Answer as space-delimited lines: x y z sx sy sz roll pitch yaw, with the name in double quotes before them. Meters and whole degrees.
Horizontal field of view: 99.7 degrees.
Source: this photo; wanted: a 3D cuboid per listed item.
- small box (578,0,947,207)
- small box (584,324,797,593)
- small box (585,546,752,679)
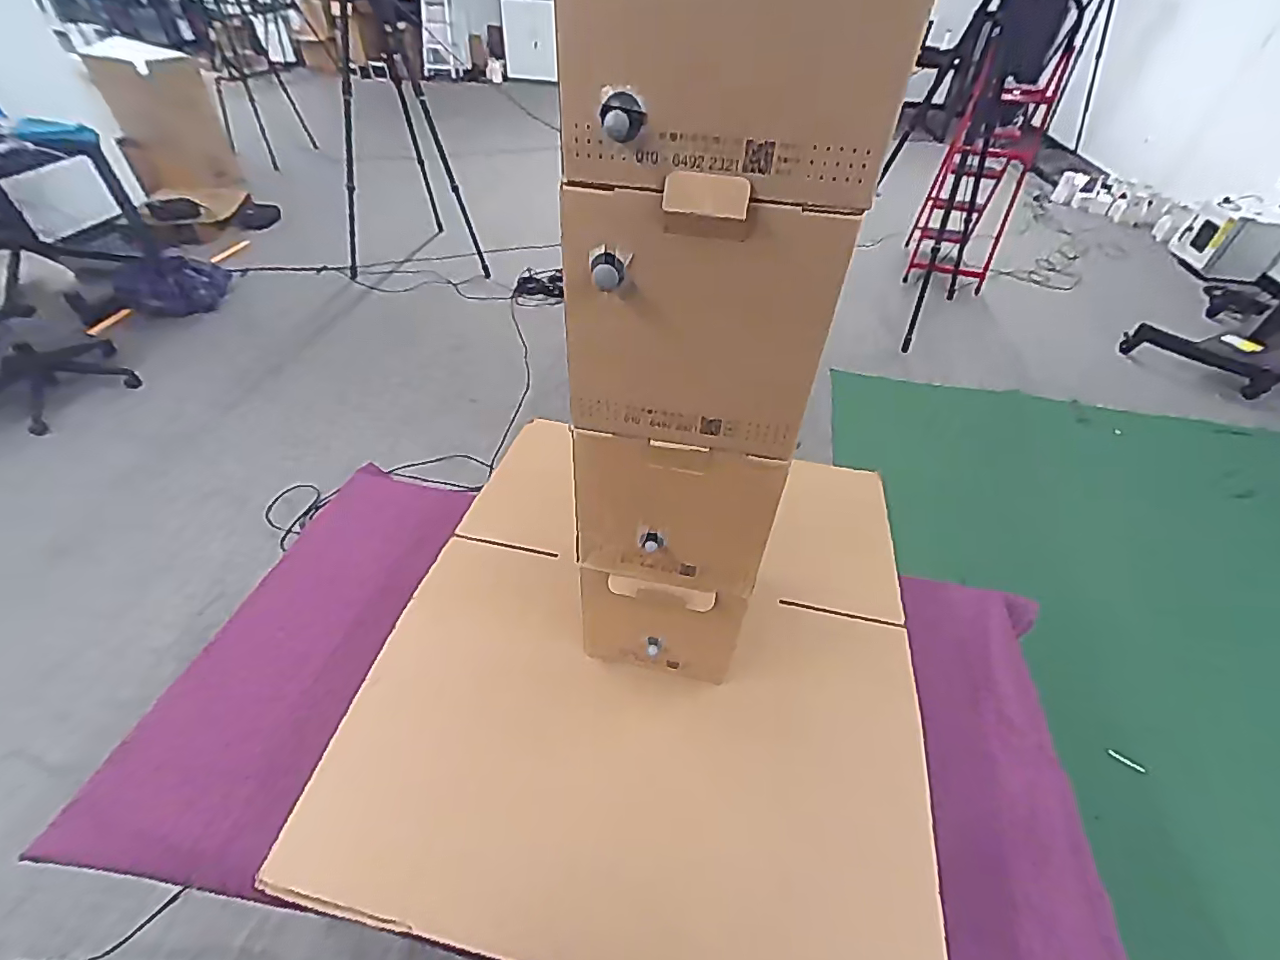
"small box" 0.062 -0.265 0.293 0.168 0.176 0.179 7 44 3
"small box" 0.046 -0.022 0.515 0.168 0.176 0.179 10 43 6
"small box" 0.038 0.097 0.625 0.168 0.176 0.179 11 43 8
